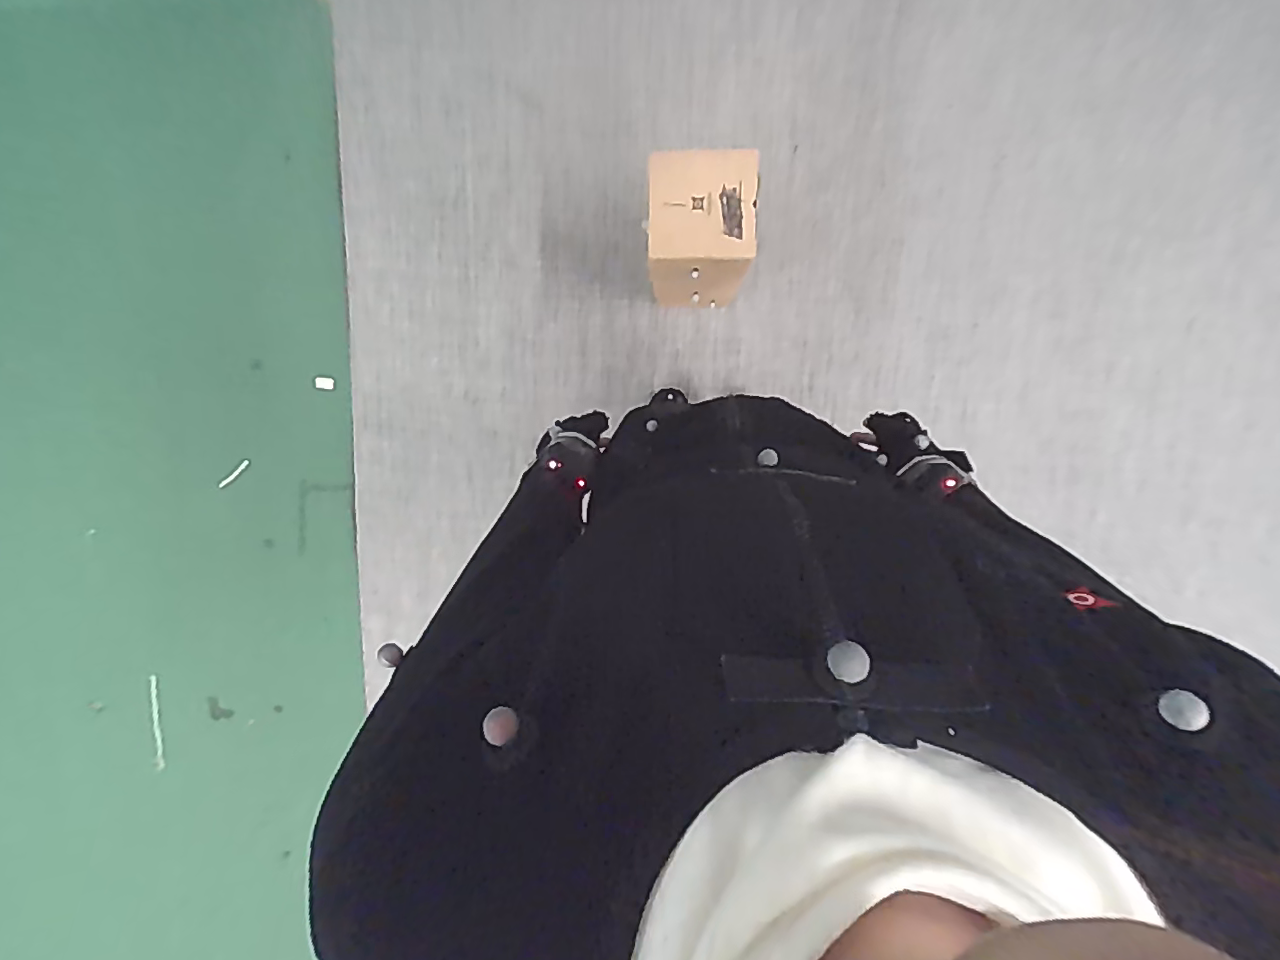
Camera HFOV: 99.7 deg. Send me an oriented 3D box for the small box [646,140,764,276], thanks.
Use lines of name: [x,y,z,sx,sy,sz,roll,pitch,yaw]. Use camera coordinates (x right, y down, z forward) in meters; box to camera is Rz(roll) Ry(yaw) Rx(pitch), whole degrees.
small box: [0.106,-0.460,0.941,0.179,0.176,0.168,5,98,3]

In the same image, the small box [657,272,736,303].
small box: [0.132,-0.514,1.266,0.179,0.176,0.168,2,99,5]
